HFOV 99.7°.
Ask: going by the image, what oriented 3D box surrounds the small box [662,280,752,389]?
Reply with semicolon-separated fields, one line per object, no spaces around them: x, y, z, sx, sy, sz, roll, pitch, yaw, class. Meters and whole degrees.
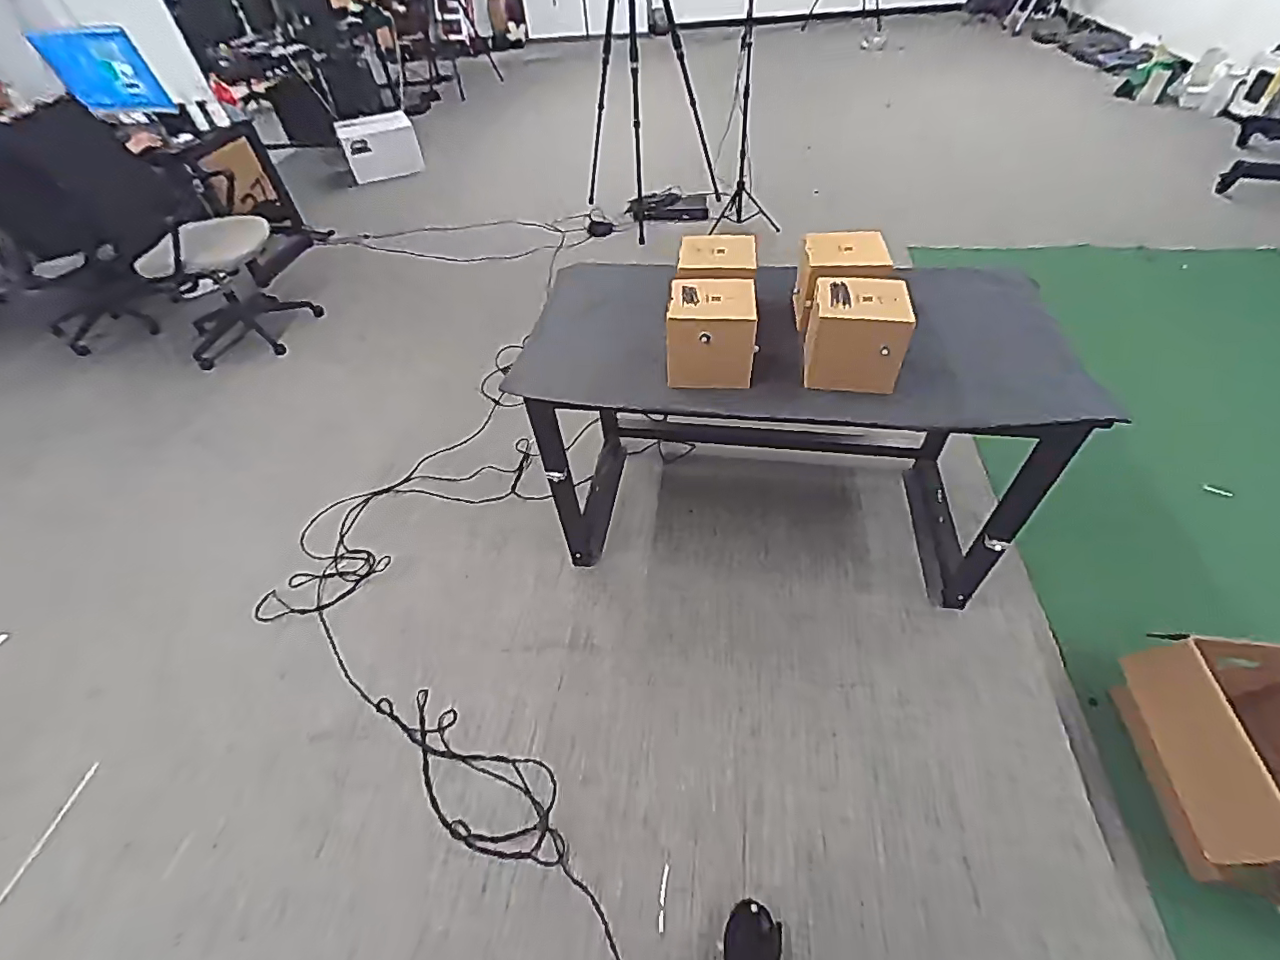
0.143;-0.309;1.155;0.179;0.176;0.168;3;46;6;small box
